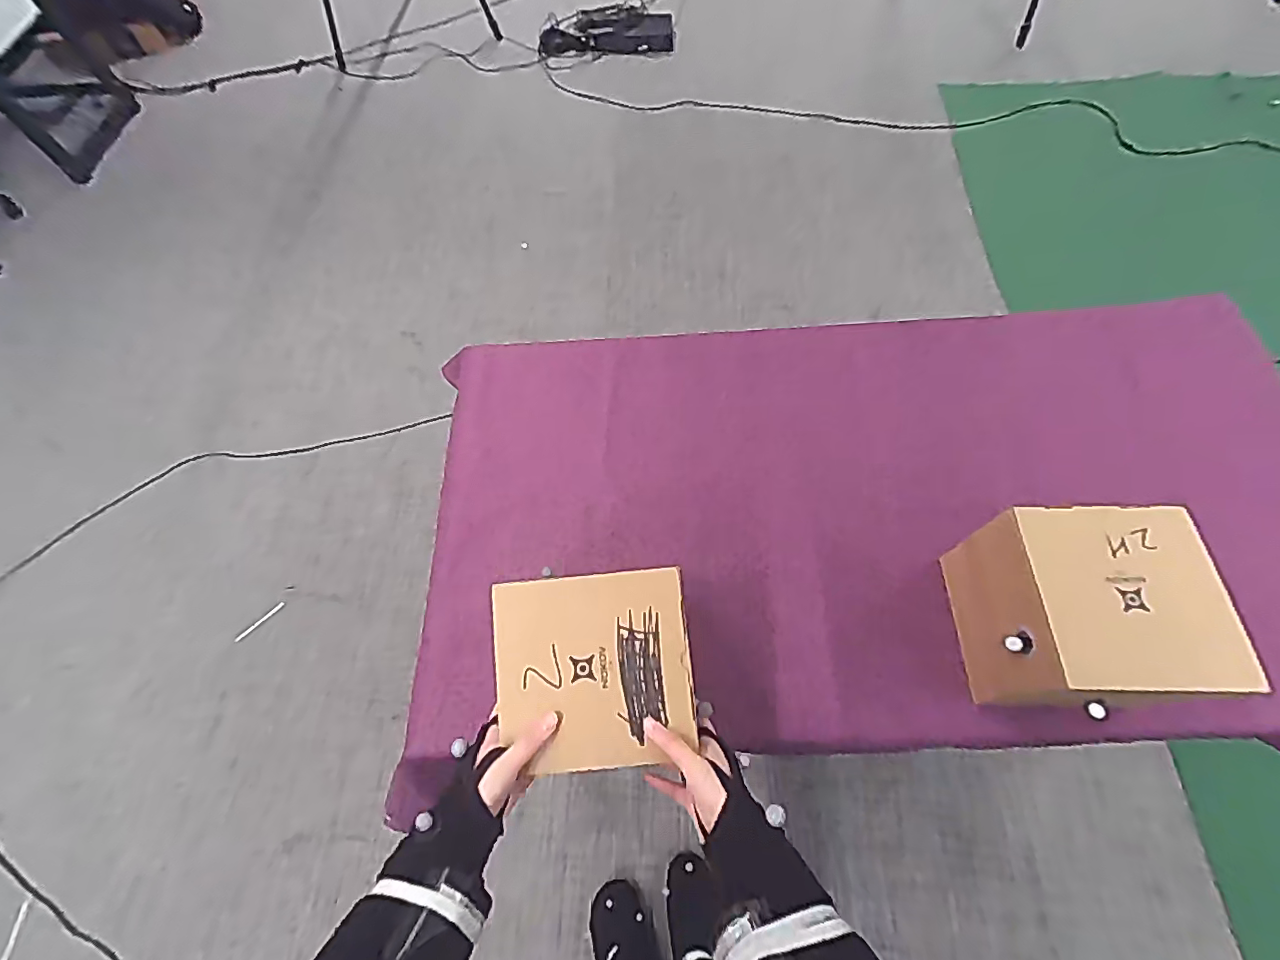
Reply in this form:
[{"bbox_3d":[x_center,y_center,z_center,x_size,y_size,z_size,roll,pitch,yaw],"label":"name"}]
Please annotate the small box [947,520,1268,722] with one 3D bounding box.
[{"bbox_3d":[0.457,0.155,0.570,0.168,0.176,0.179,1,62,3],"label":"small box"}]
